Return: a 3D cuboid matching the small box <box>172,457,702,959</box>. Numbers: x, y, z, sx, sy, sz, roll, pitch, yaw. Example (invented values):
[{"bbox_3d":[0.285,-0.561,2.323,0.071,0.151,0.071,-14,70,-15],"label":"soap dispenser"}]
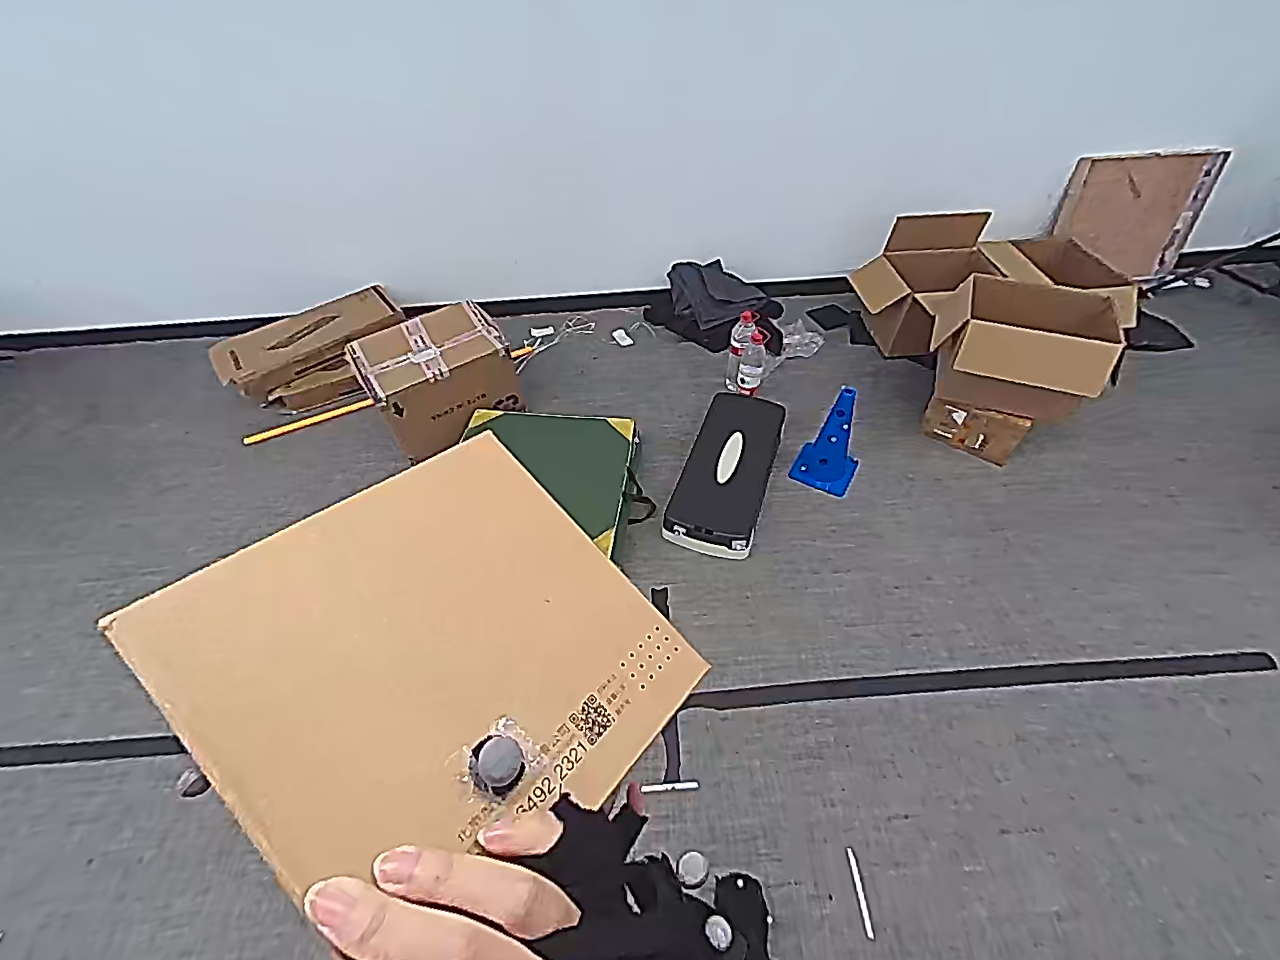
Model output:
[{"bbox_3d":[-0.099,0.126,0.300,0.176,0.179,0.168,45,49,10],"label":"small box"}]
